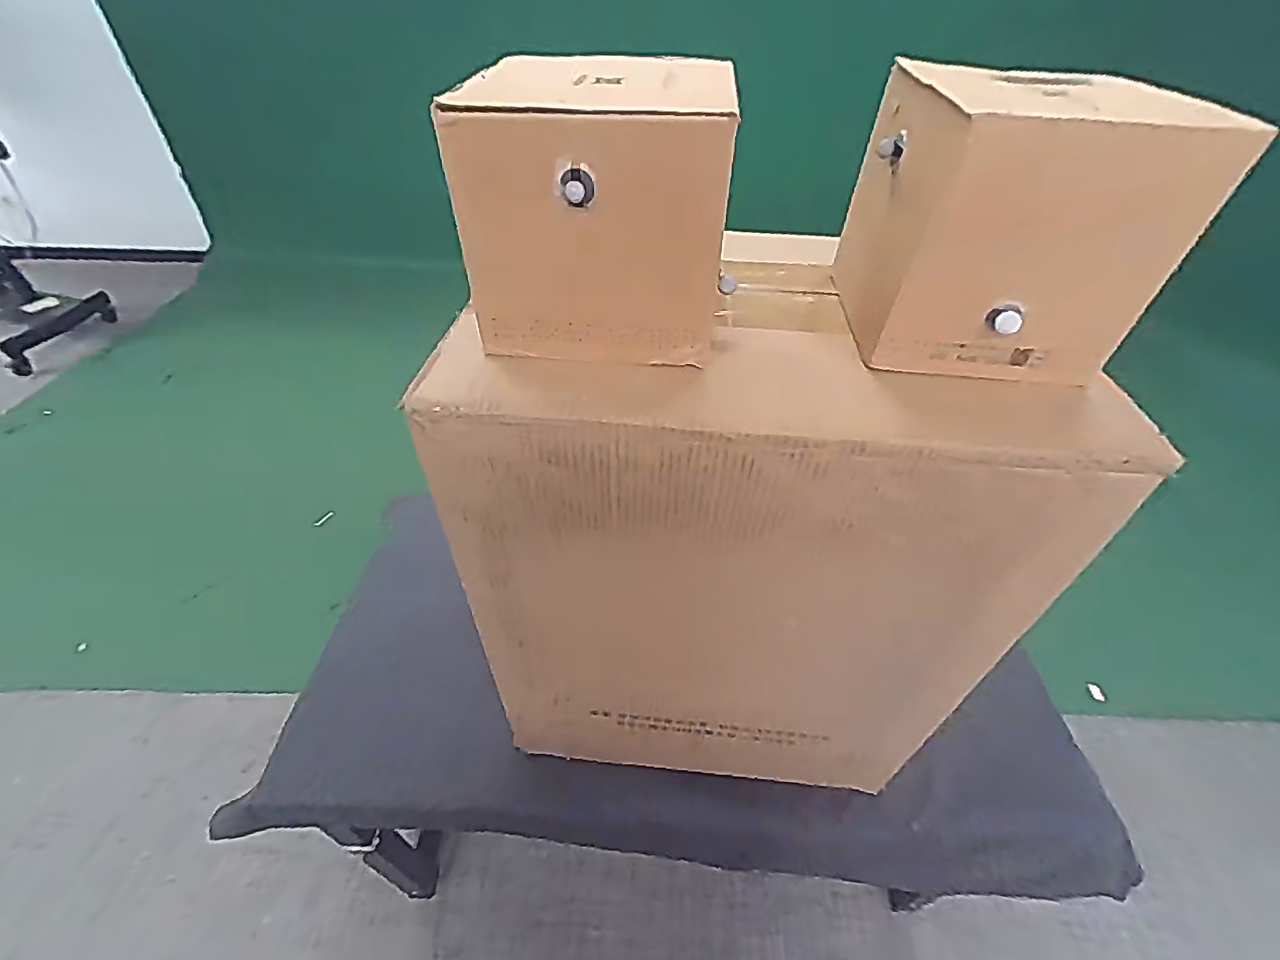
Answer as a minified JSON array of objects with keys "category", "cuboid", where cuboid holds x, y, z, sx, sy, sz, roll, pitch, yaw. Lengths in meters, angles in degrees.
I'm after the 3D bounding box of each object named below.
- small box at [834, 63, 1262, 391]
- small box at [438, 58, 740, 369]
[{"category":"small box","cuboid":[0.263,-0.192,0.413,0.168,0.176,0.179,6,46,1]},{"category":"small box","cuboid":[-0.025,-0.202,0.415,0.179,0.176,0.168,6,47,2]}]
